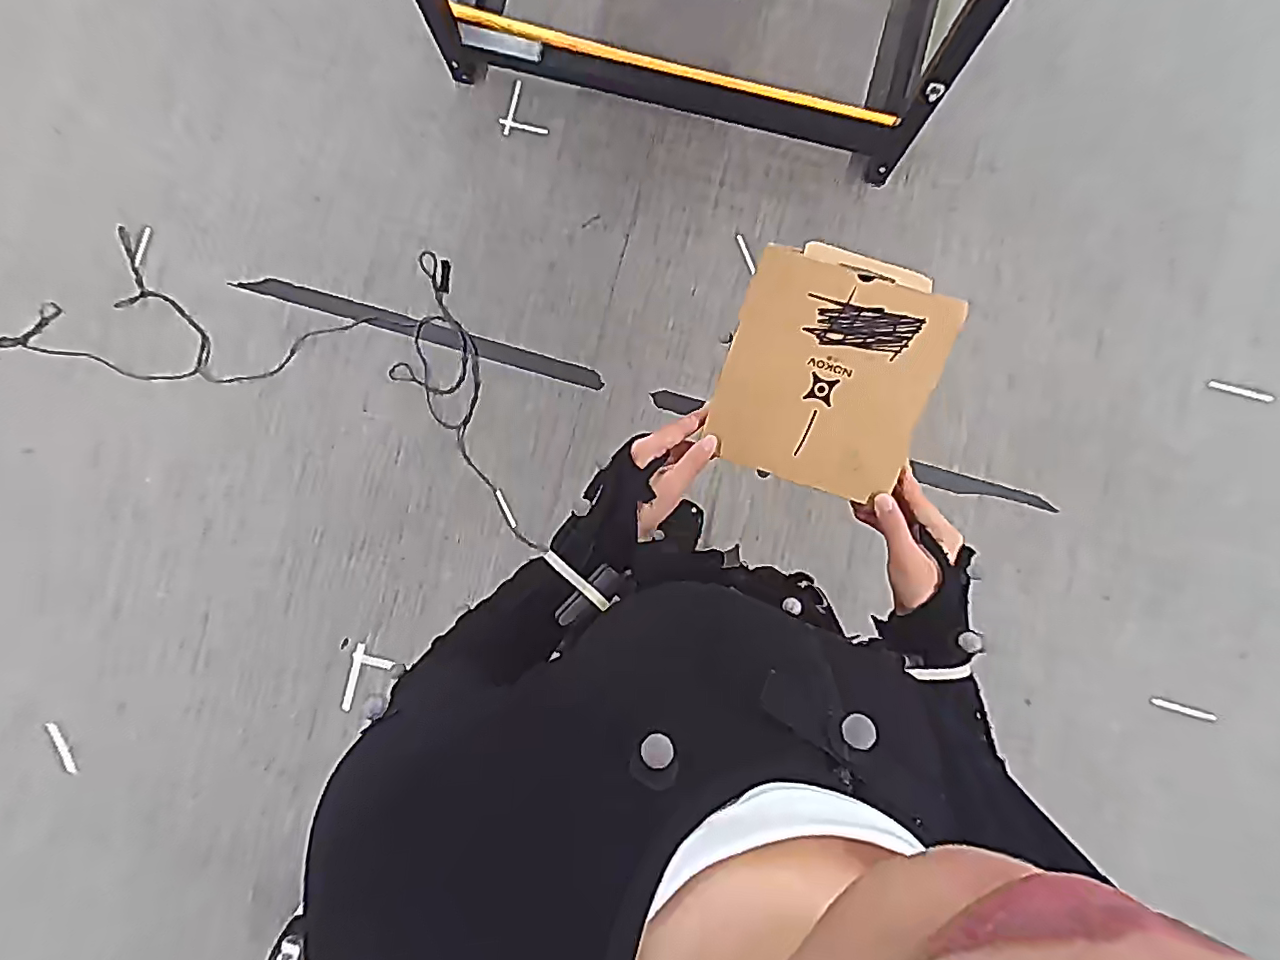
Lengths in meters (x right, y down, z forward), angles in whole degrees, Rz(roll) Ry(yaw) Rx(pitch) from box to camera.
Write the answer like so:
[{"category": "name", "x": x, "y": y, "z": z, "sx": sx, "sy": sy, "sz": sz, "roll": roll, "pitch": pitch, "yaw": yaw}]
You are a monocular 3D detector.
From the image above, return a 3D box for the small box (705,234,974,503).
[{"category": "small box", "x": 0.163, "y": -0.099, "z": 0.511, "sx": 0.168, "sy": 0.176, "sz": 0.179, "roll": 19, "pitch": 101, "yaw": 4}]

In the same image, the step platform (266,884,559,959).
[{"category": "step platform", "x": -0.533, "y": 1.226, "z": 1.251, "sx": 0.684, "sy": 0.204, "sz": 0.286, "roll": 15, "pitch": 88, "yaw": 2}]
